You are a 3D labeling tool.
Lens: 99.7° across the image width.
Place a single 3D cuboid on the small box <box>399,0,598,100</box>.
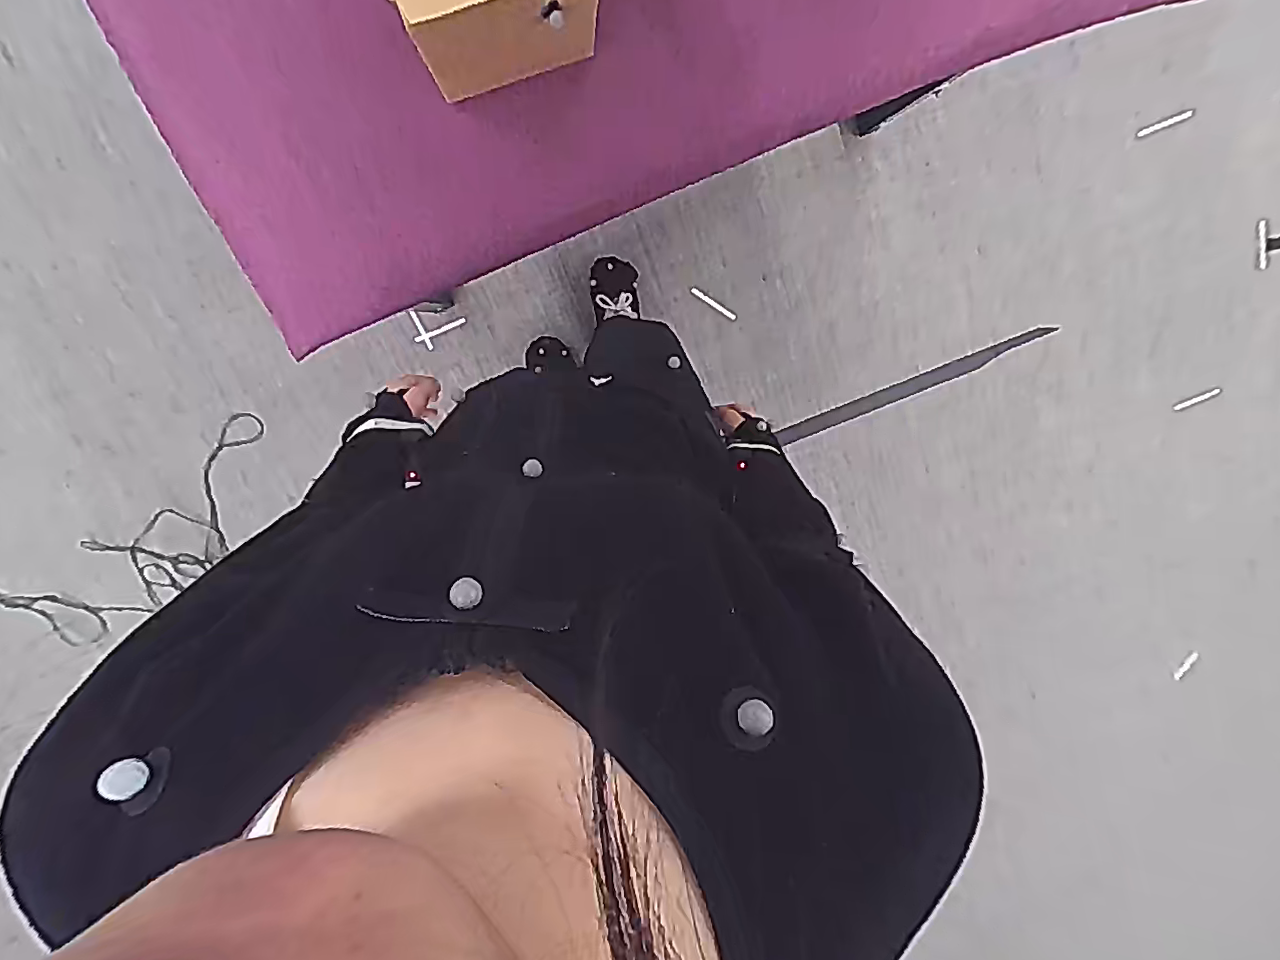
[{"bbox_3d":[-0.145,-0.499,0.507,0.179,0.176,0.168,-19,107,-1],"label":"small box"}]
